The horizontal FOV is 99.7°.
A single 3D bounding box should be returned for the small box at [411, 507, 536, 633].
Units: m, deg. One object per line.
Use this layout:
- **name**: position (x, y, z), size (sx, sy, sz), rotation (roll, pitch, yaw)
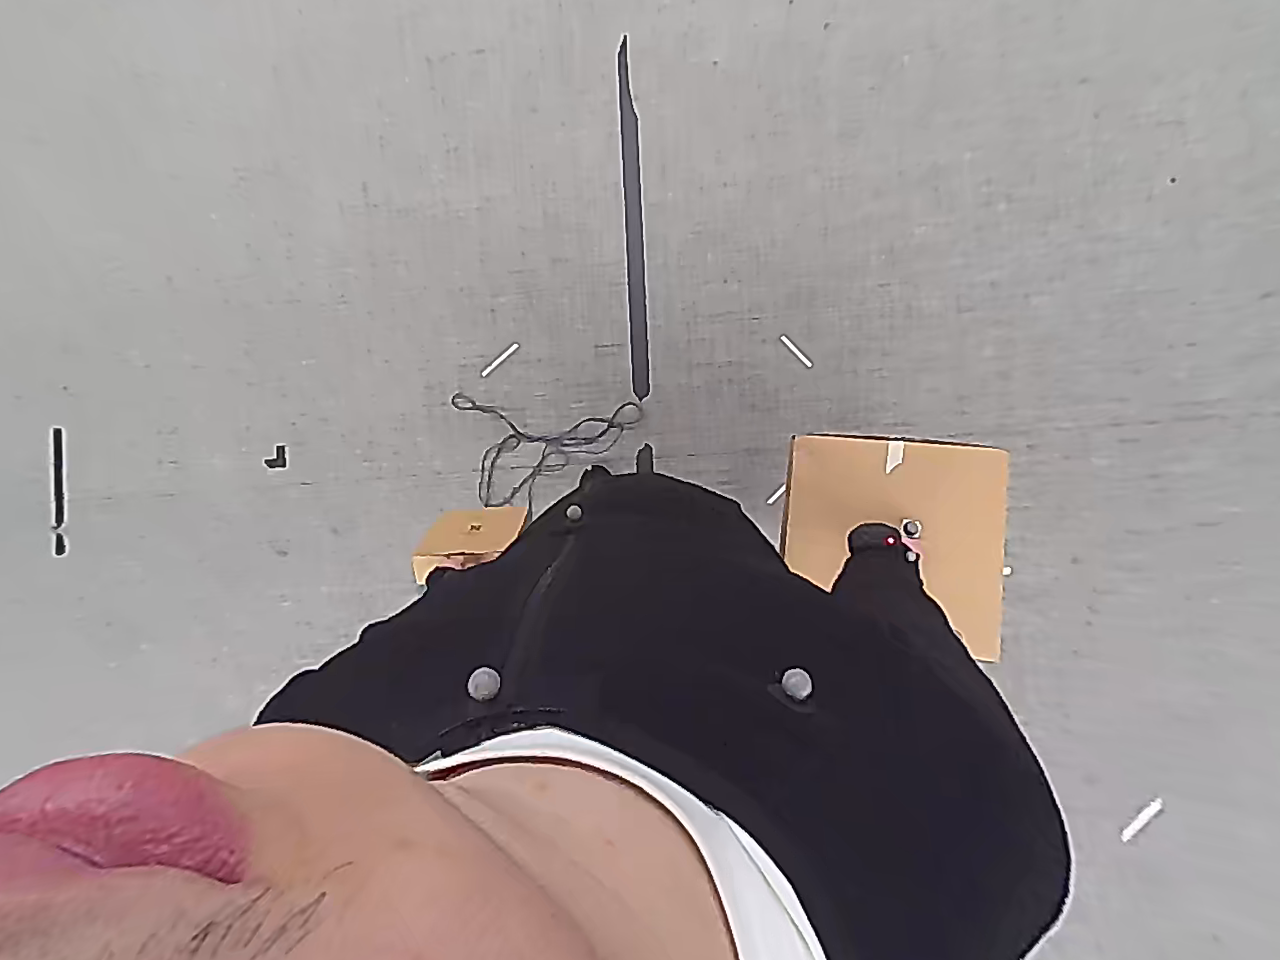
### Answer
- **small box**: position (-0.291, 0.165, 0.988), size (0.168, 0.179, 0.176), rotation (-2, 113, 0)
